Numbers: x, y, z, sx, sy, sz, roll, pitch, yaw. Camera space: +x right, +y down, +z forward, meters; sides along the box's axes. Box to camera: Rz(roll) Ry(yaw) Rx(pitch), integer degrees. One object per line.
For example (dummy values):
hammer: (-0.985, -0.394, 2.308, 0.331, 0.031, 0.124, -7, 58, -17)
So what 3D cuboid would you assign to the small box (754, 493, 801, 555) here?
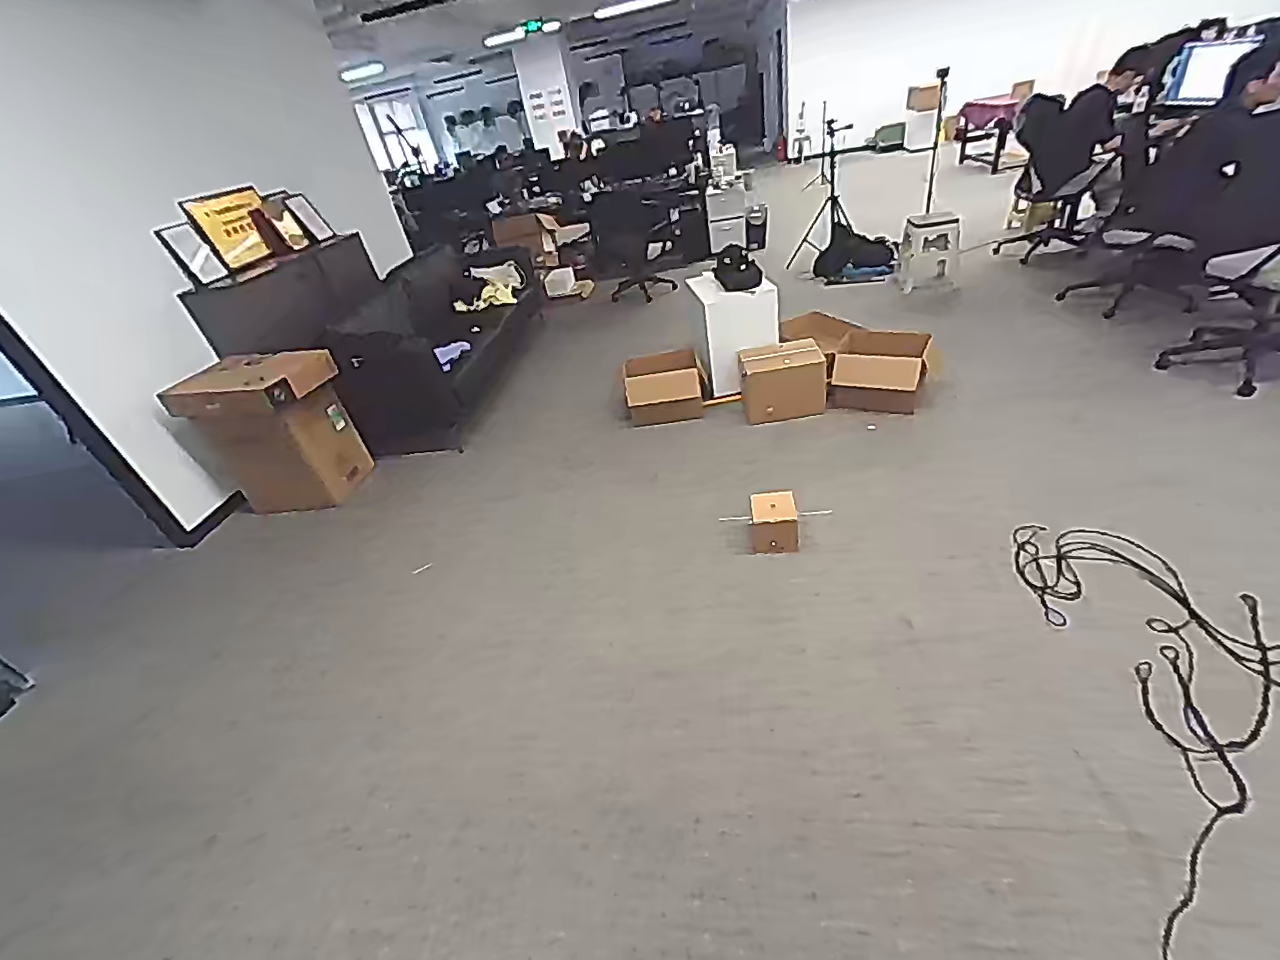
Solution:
small box: (0.540, 0.175, 2.136, 0.168, 0.176, 0.179, -6, 36, 10)
